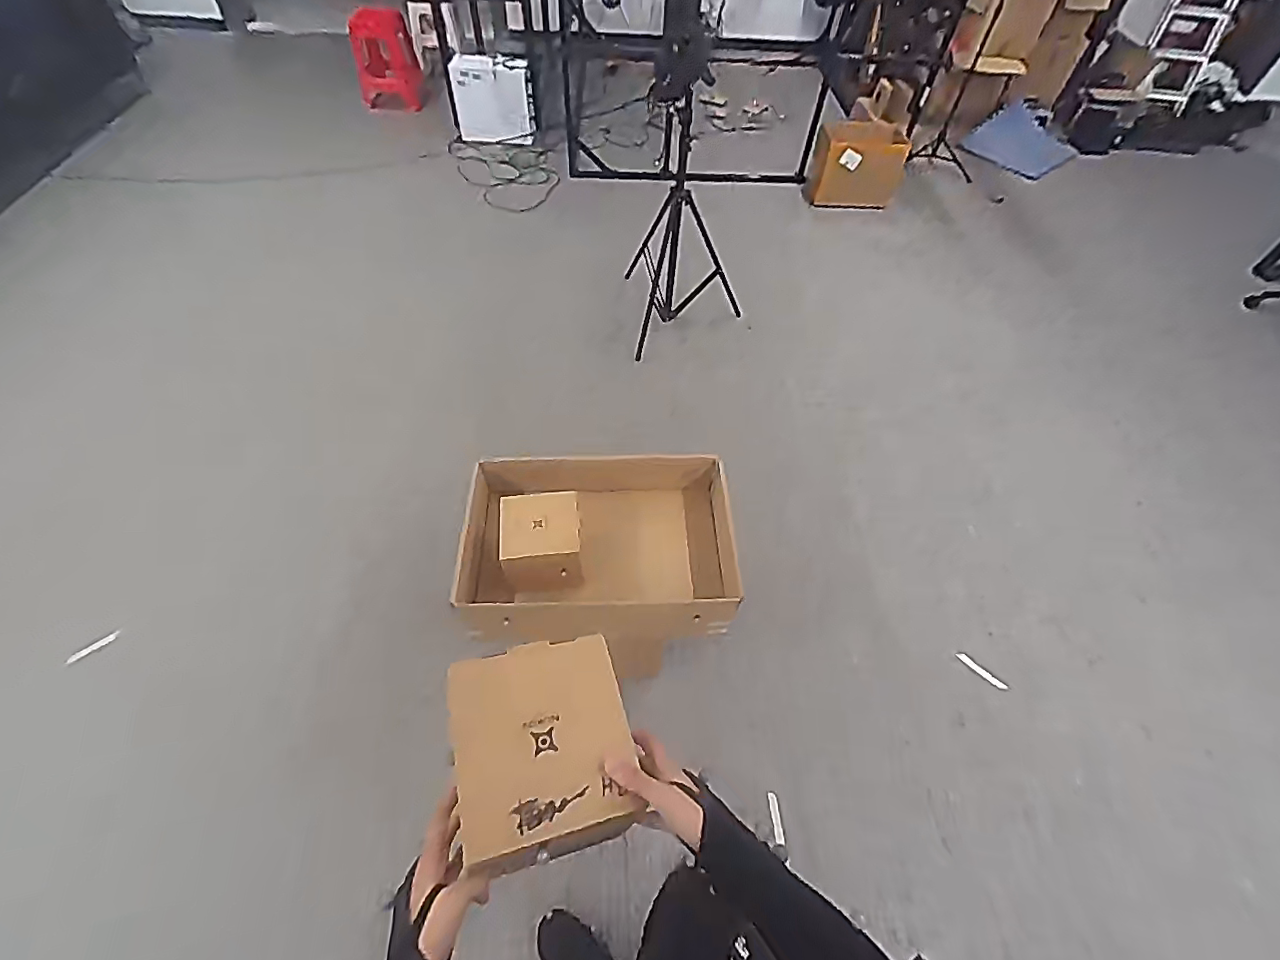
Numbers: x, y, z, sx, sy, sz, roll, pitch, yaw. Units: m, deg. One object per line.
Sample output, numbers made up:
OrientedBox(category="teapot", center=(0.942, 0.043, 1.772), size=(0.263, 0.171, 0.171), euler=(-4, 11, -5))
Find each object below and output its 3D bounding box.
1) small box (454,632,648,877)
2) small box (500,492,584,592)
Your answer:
OrientedBox(category="small box", center=(-0.105, 0.292, 0.580), size=(0.168, 0.176, 0.179), euler=(-7, 51, -18))
OrientedBox(category="small box", center=(-0.222, 0.147, 1.259), size=(0.179, 0.176, 0.168), euler=(-5, 53, -5))
